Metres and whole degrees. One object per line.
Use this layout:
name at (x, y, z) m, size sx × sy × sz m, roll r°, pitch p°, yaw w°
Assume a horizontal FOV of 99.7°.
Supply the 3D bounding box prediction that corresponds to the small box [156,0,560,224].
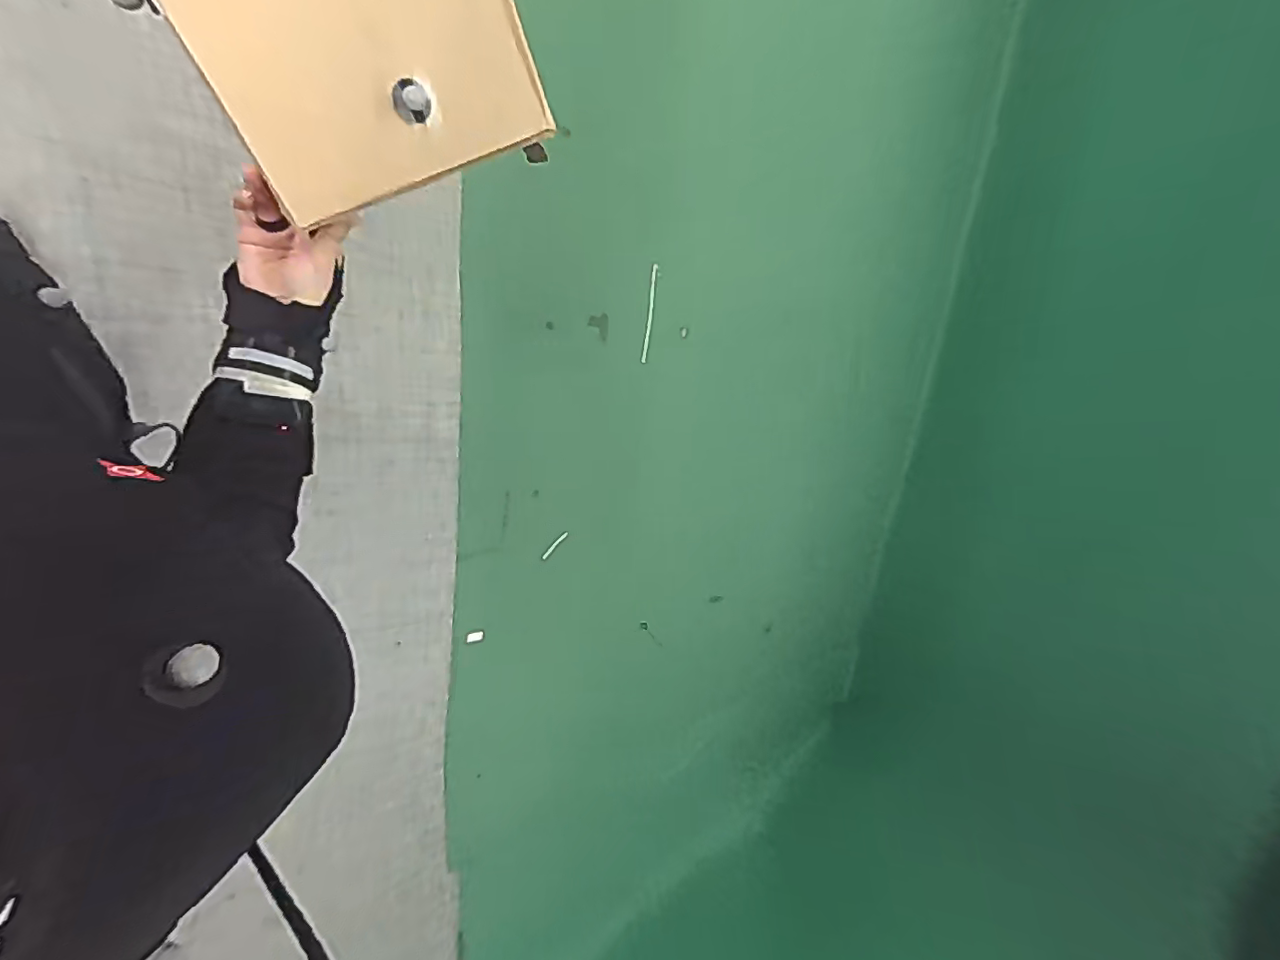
small box at (-0.185, -0.282, 0.345) m, size 0.179 × 0.168 × 0.176 m, roll -32°, pitch 125°, yaw -17°
